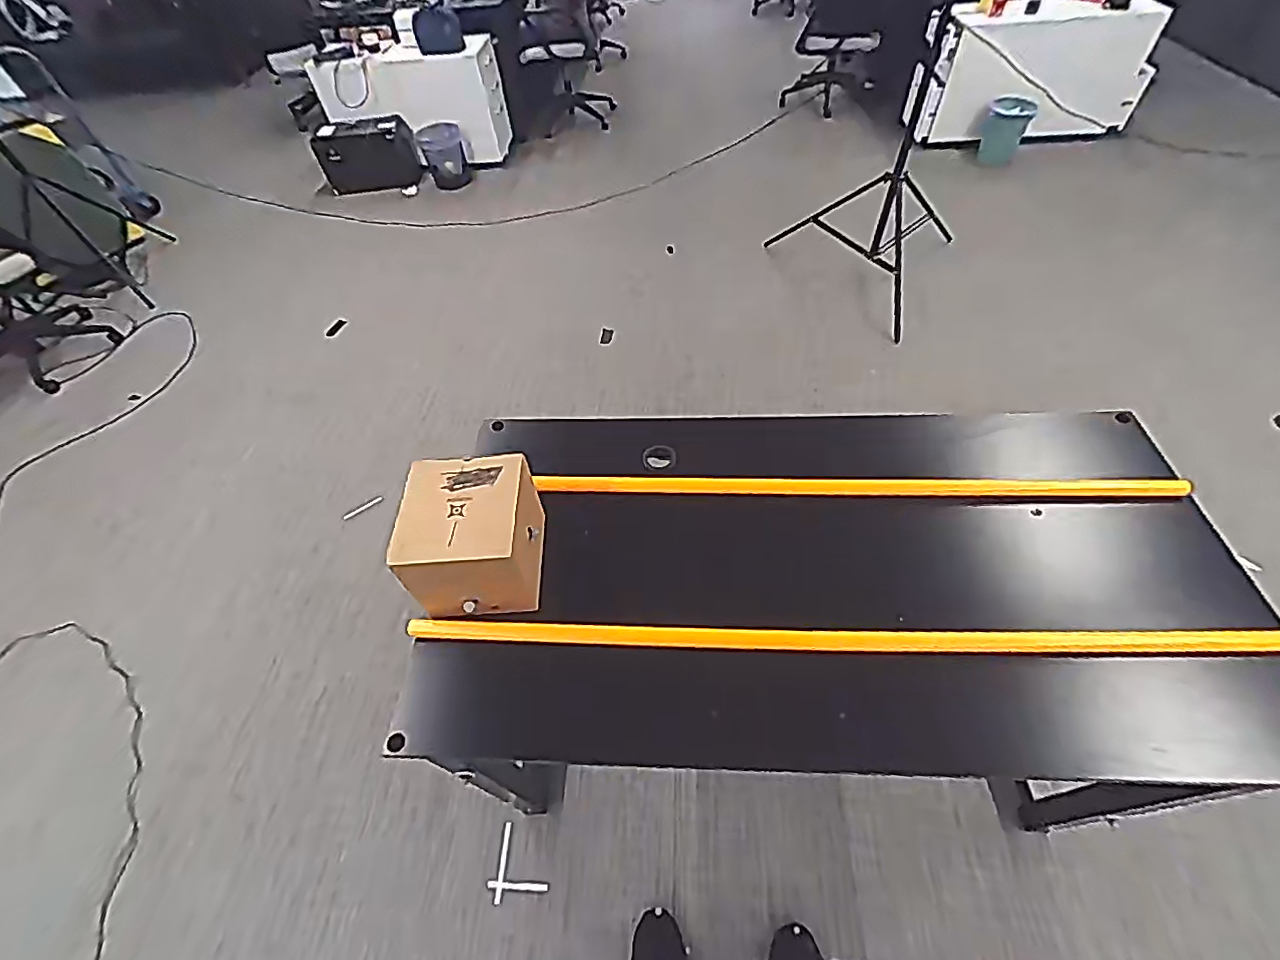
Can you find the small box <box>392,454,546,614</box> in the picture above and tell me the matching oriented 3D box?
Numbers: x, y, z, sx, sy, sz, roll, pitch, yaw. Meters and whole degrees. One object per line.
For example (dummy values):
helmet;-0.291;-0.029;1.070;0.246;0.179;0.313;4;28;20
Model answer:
small box;-0.240;0.083;0.811;0.168;0.176;0.179;-4;53;1
